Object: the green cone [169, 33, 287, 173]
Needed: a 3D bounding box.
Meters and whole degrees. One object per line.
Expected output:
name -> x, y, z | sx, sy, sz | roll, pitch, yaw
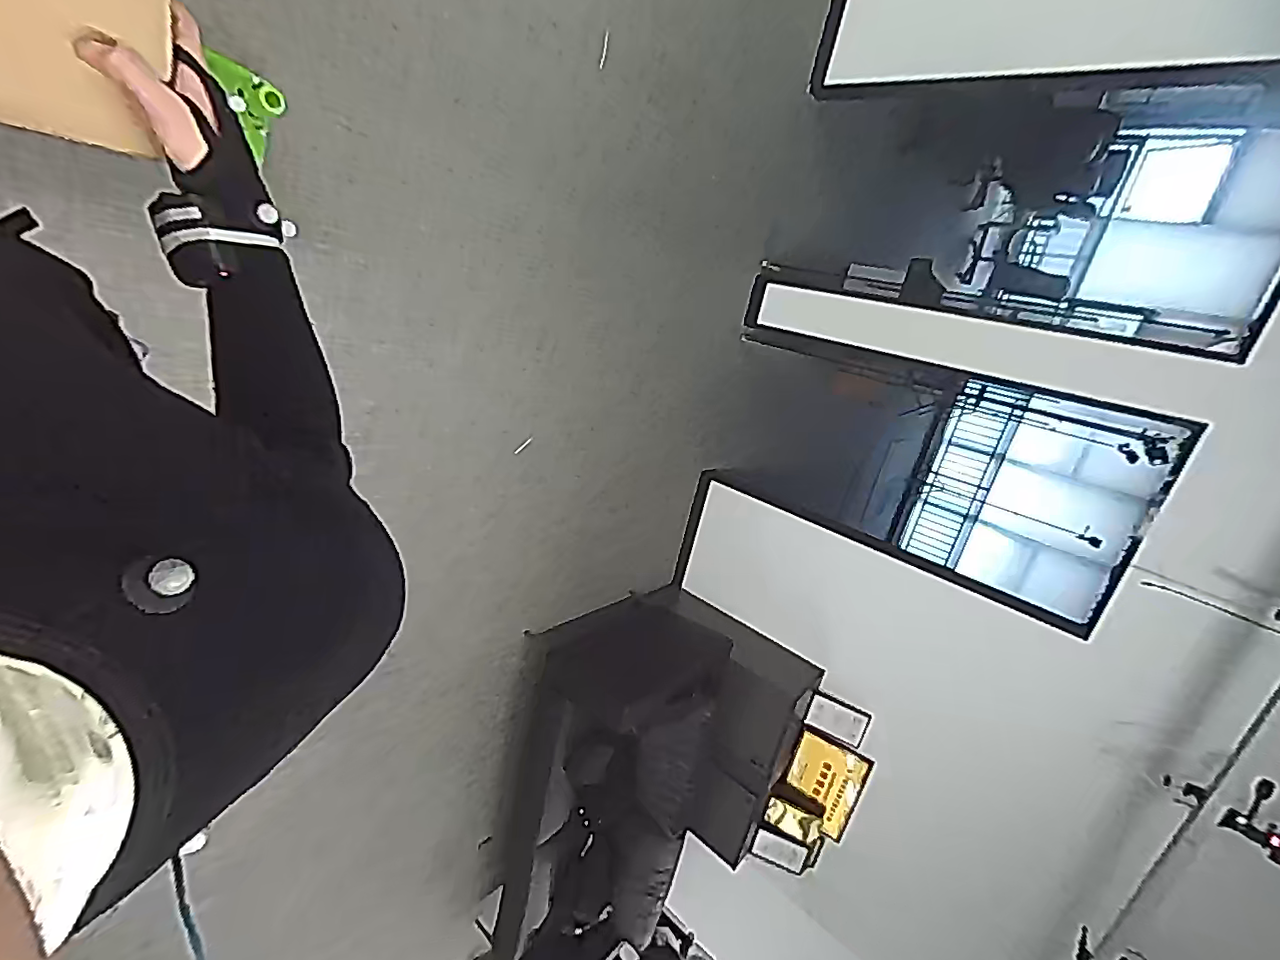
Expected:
green cone -> -0.791, -0.747, 1.073 | 0.200, 0.368, 0.202 | 0, 110, -54
